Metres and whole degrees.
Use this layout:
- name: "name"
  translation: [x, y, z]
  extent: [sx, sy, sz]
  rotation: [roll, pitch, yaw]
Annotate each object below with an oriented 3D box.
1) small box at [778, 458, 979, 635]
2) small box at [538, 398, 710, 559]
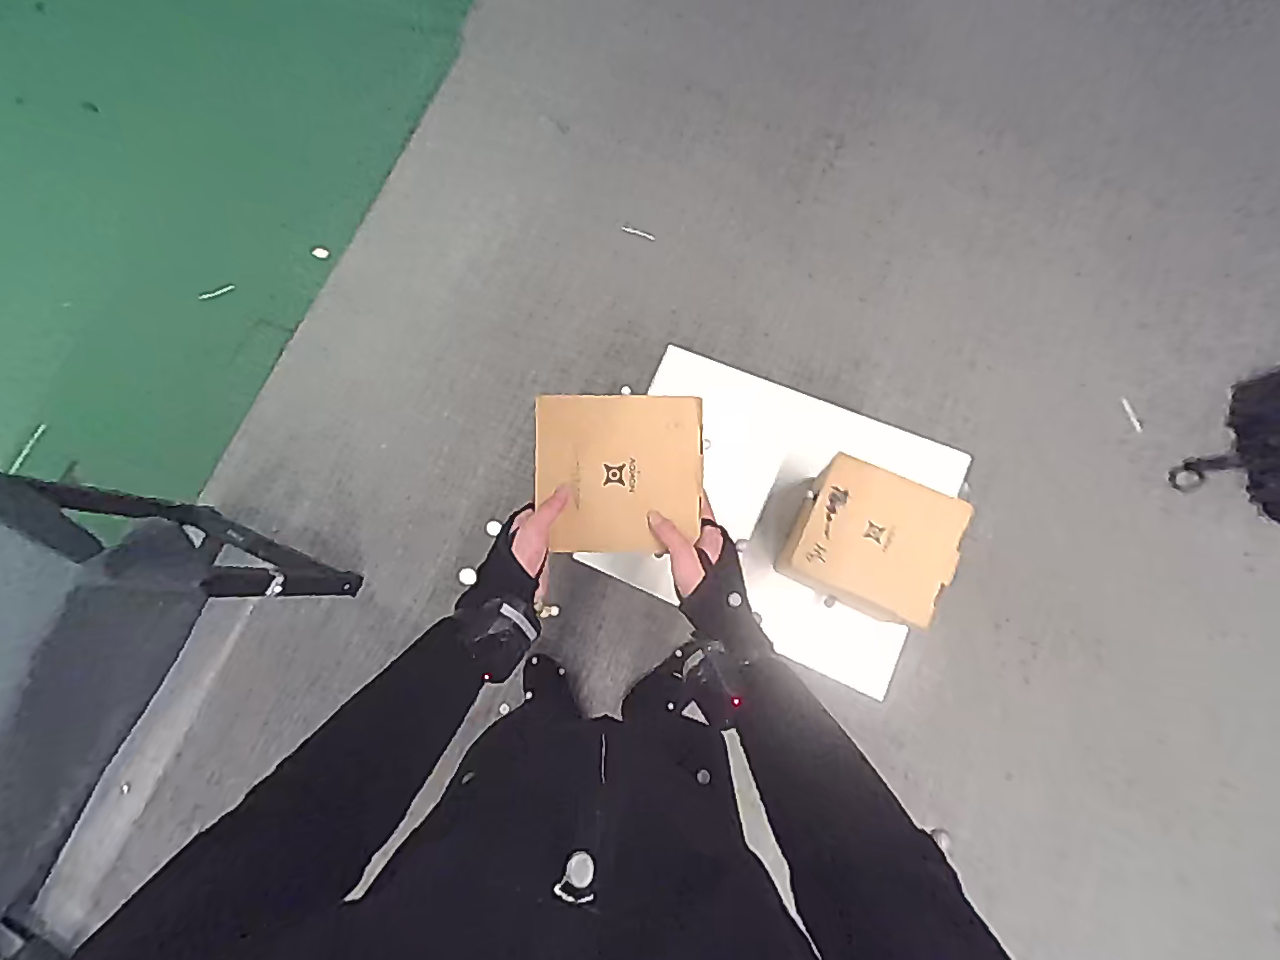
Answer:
- name: "small box"
  translation: [0.311, 0.091, 0.742]
  extent: [0.179, 0.176, 0.168]
  rotation: [25, 82, 10]
- name: "small box"
  translation: [-0.014, -0.002, 0.628]
  extent: [0.179, 0.176, 0.168]
  rotation: [0, 90, 3]
